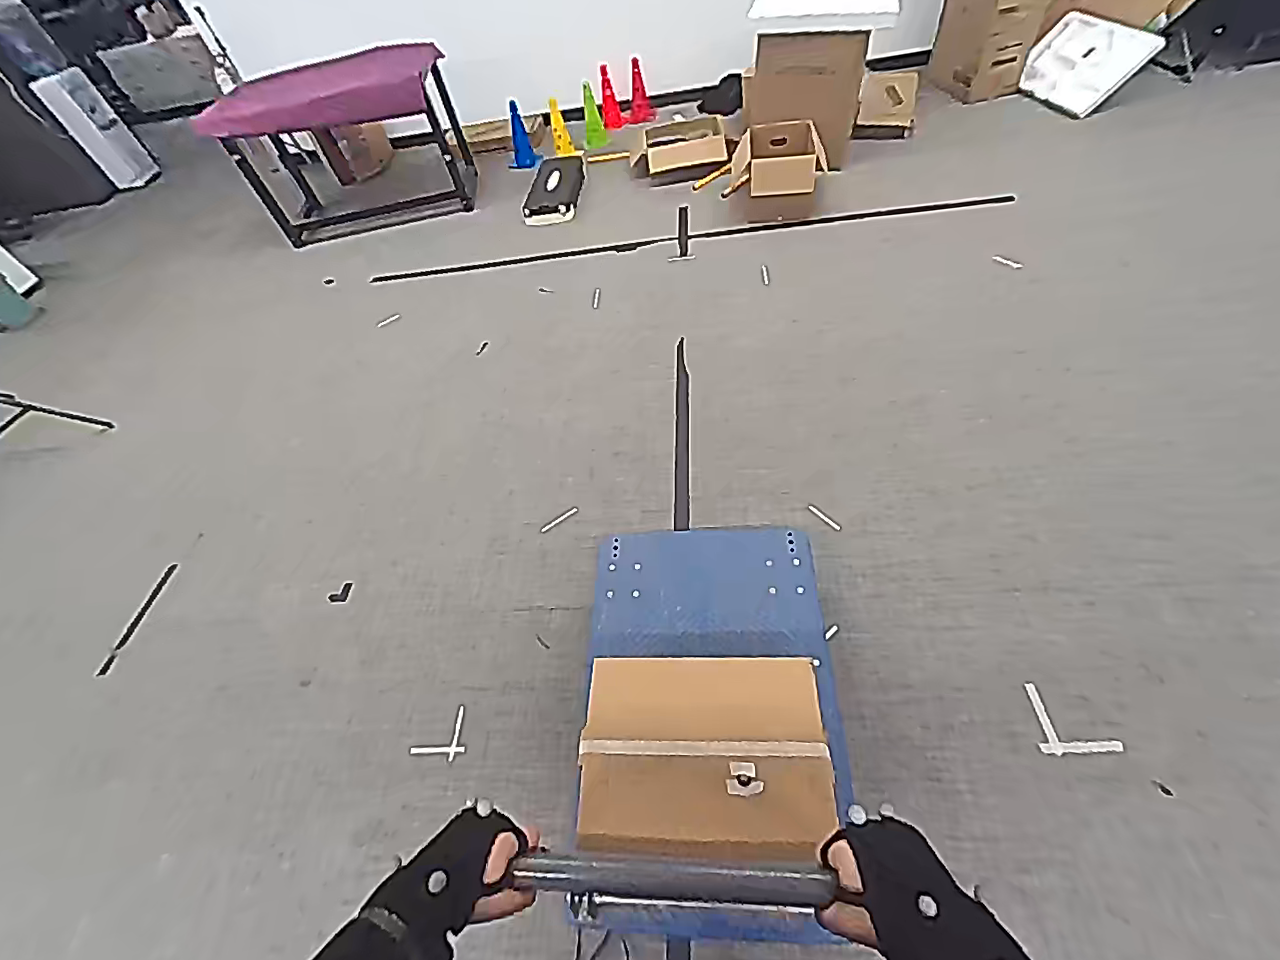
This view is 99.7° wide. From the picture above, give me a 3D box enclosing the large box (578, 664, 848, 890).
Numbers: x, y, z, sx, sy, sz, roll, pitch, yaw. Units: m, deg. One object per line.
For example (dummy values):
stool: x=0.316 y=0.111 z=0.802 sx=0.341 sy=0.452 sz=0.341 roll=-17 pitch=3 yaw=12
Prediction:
large box: x=0.122 y=0.549 z=0.996 sx=0.408 sy=0.320 sz=0.320 roll=-2 pitch=51 yaw=7
